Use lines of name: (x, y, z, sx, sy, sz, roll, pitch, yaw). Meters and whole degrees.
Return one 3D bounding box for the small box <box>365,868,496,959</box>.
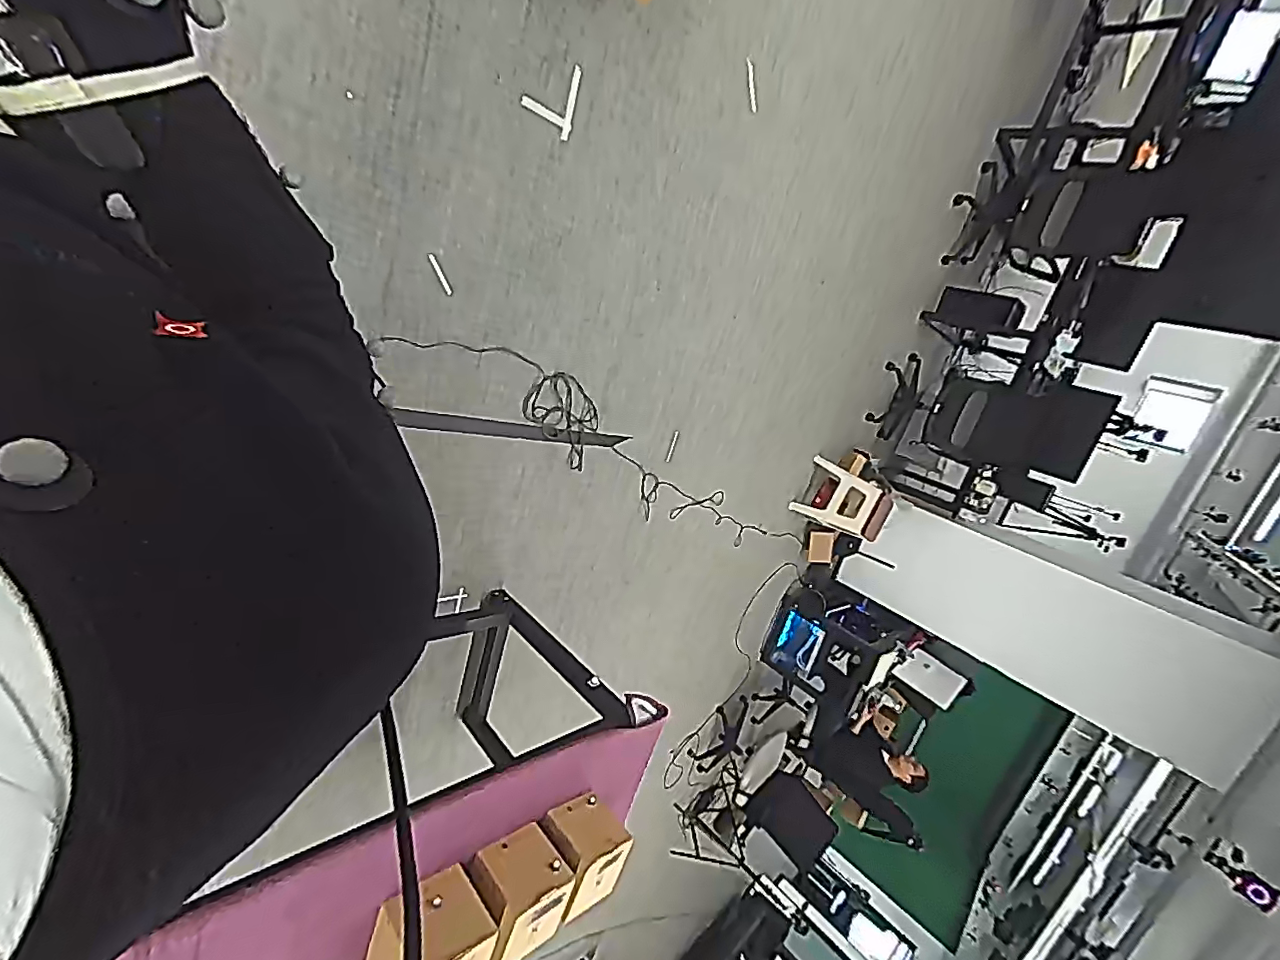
small box: (-0.416, 0.925, 1.060, 0.168, 0.176, 0.179, 5, 109, -51)
